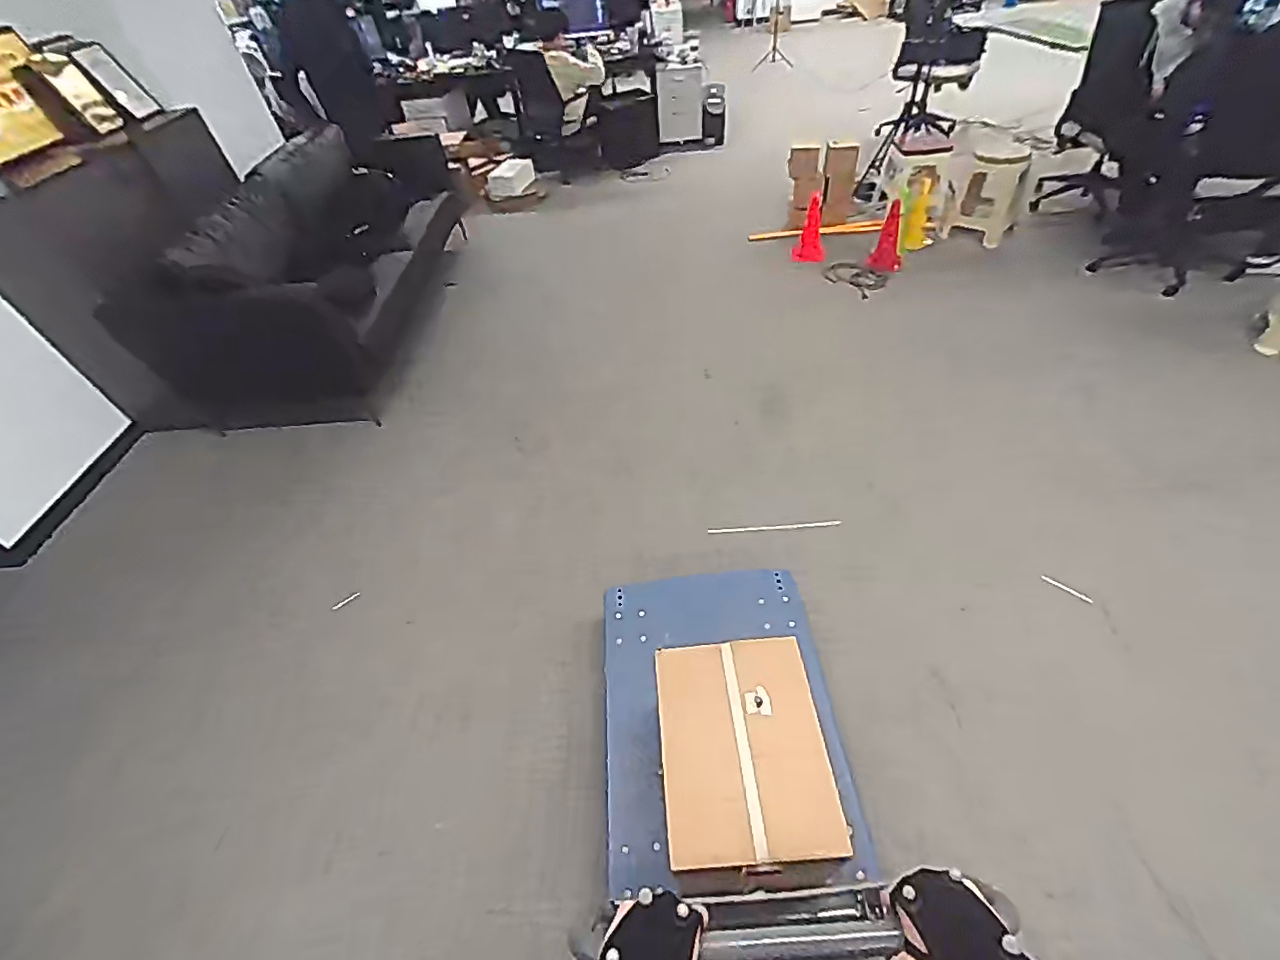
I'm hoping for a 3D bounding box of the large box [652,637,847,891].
[{"bbox_3d":[0.209,0.610,1.171,0.320,0.320,0.408,-6,46,2],"label":"large box"}]
